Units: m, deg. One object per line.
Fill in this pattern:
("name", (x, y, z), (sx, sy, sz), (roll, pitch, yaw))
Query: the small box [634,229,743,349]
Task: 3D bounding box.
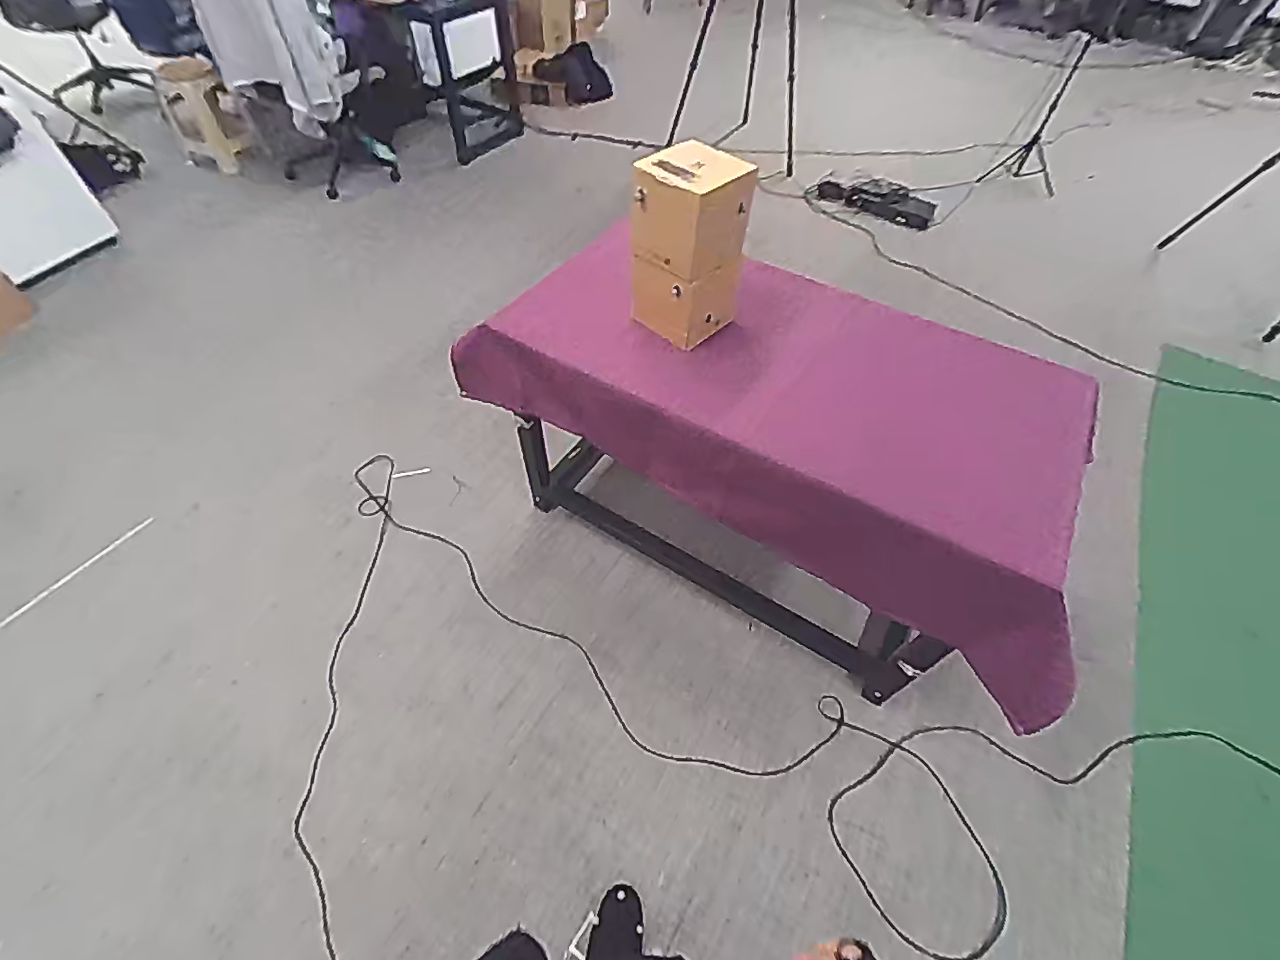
("small box", (0.099, -0.422, 1.204), (0.179, 0.176, 0.168), (38, 60, 24))
